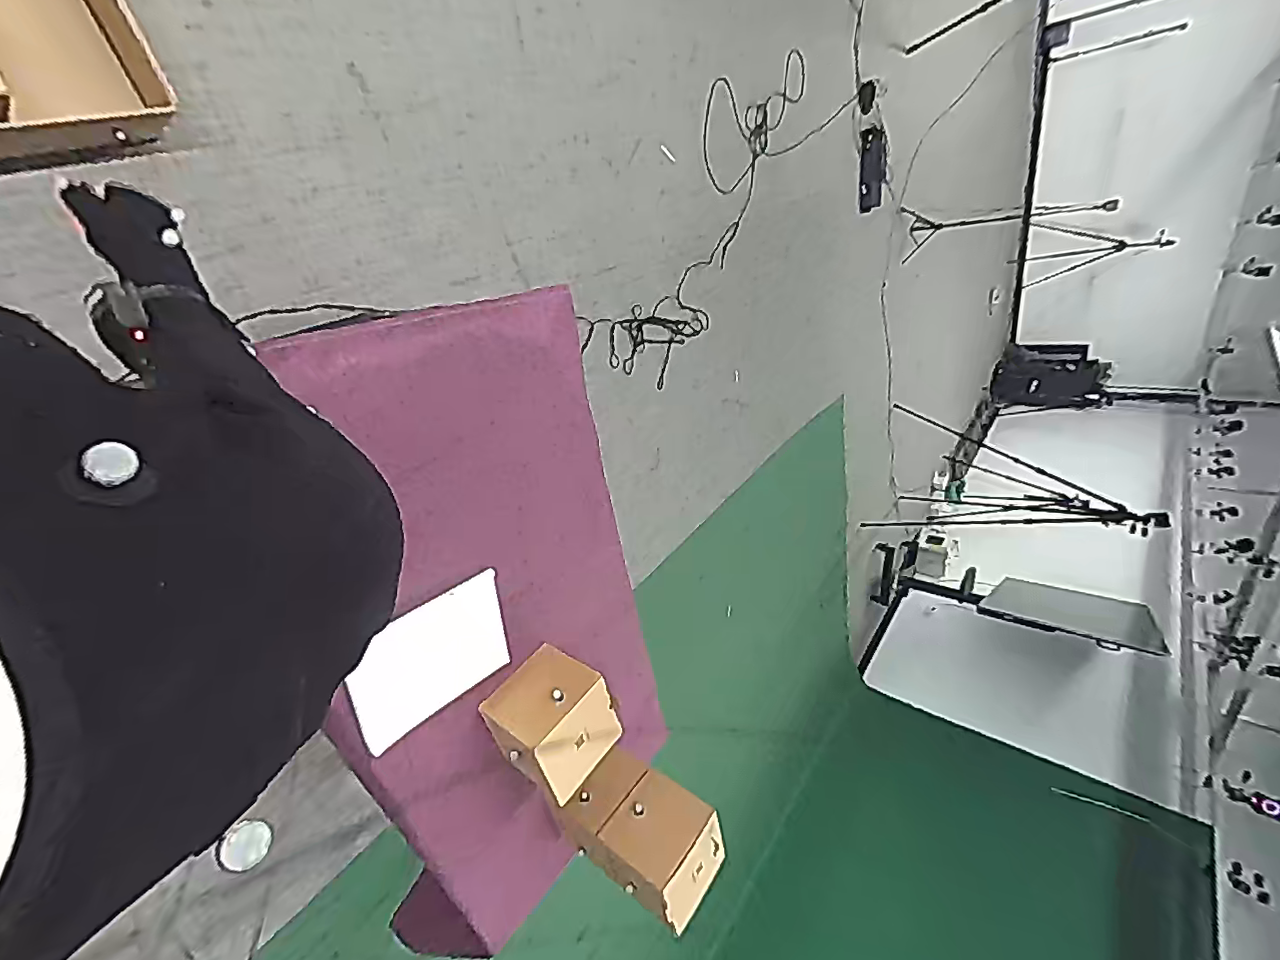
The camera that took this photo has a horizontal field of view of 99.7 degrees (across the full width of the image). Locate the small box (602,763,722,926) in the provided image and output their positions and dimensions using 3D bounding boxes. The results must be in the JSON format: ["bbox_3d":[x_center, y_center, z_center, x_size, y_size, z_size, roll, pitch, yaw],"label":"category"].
[{"bbox_3d":[0.041,0.723,1.090,0.179,0.176,0.168,-35,126,-38],"label":"small box"}]

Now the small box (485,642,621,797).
[{"bbox_3d":[-0.169,0.443,1.026,0.179,0.176,0.168,-40,128,-38],"label":"small box"}]

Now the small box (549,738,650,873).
[{"bbox_3d":[-0.081,0.700,1.197,0.179,0.176,0.168,-36,126,-39],"label":"small box"}]
